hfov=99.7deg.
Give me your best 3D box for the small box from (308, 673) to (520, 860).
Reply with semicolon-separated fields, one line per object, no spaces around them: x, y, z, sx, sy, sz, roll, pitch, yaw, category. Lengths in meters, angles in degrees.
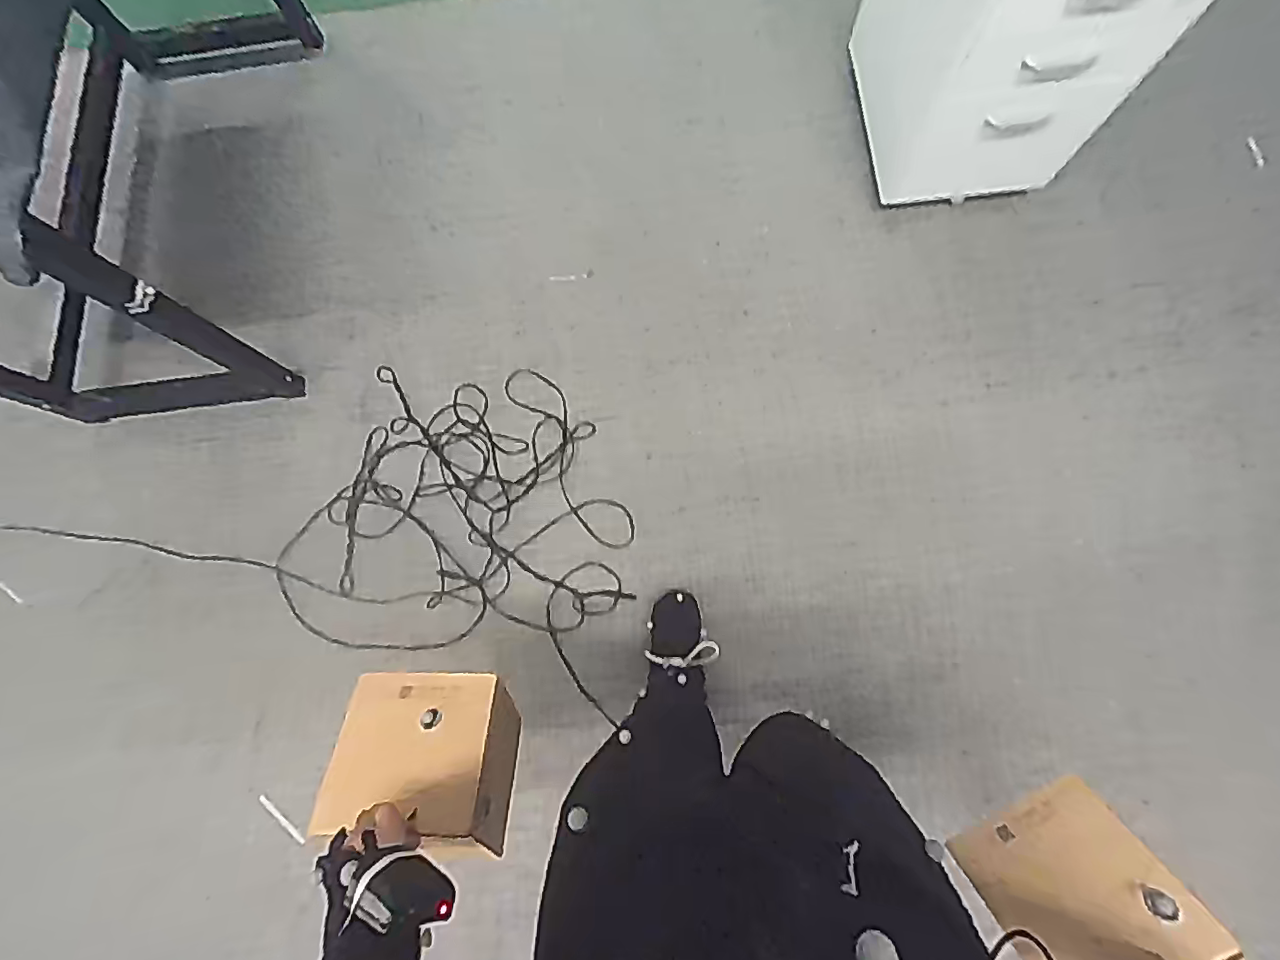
-0.249;0.347;0.652;0.168;0.179;0.176;1;51;0;small box
